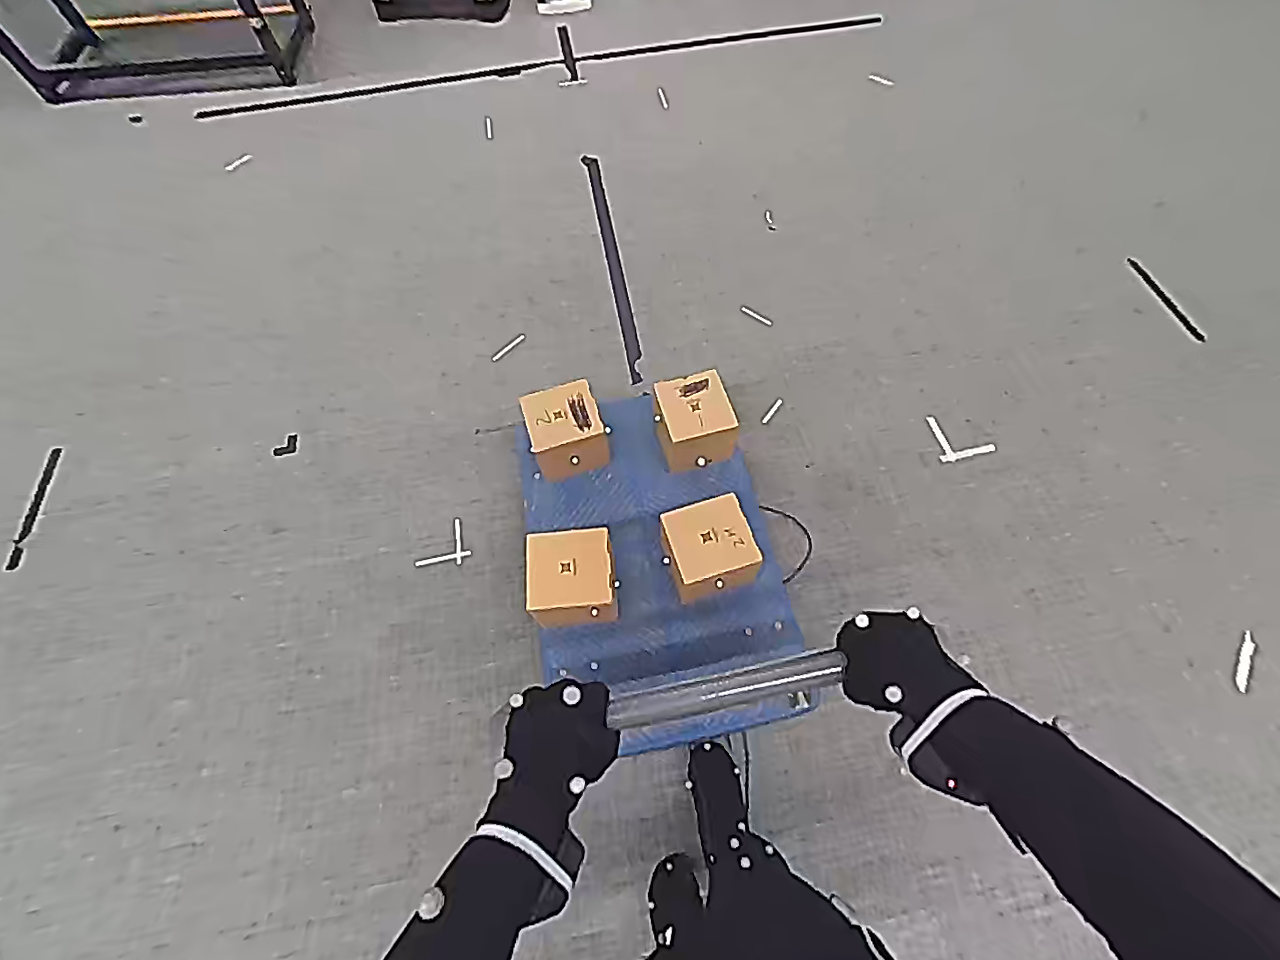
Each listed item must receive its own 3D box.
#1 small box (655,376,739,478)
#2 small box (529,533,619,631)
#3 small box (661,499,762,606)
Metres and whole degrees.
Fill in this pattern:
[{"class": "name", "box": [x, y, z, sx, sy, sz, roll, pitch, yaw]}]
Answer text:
[{"class": "small box", "box": [0.137, -0.132, 1.373, 0.168, 0.176, 0.179, -14, 64, -5]}, {"class": "small box", "box": [-0.143, 0.232, 1.200, 0.179, 0.176, 0.168, -5, 62, -2]}, {"class": "small box", "box": [0.155, 0.170, 1.220, 0.179, 0.176, 0.168, -16, 64, -6]}]
